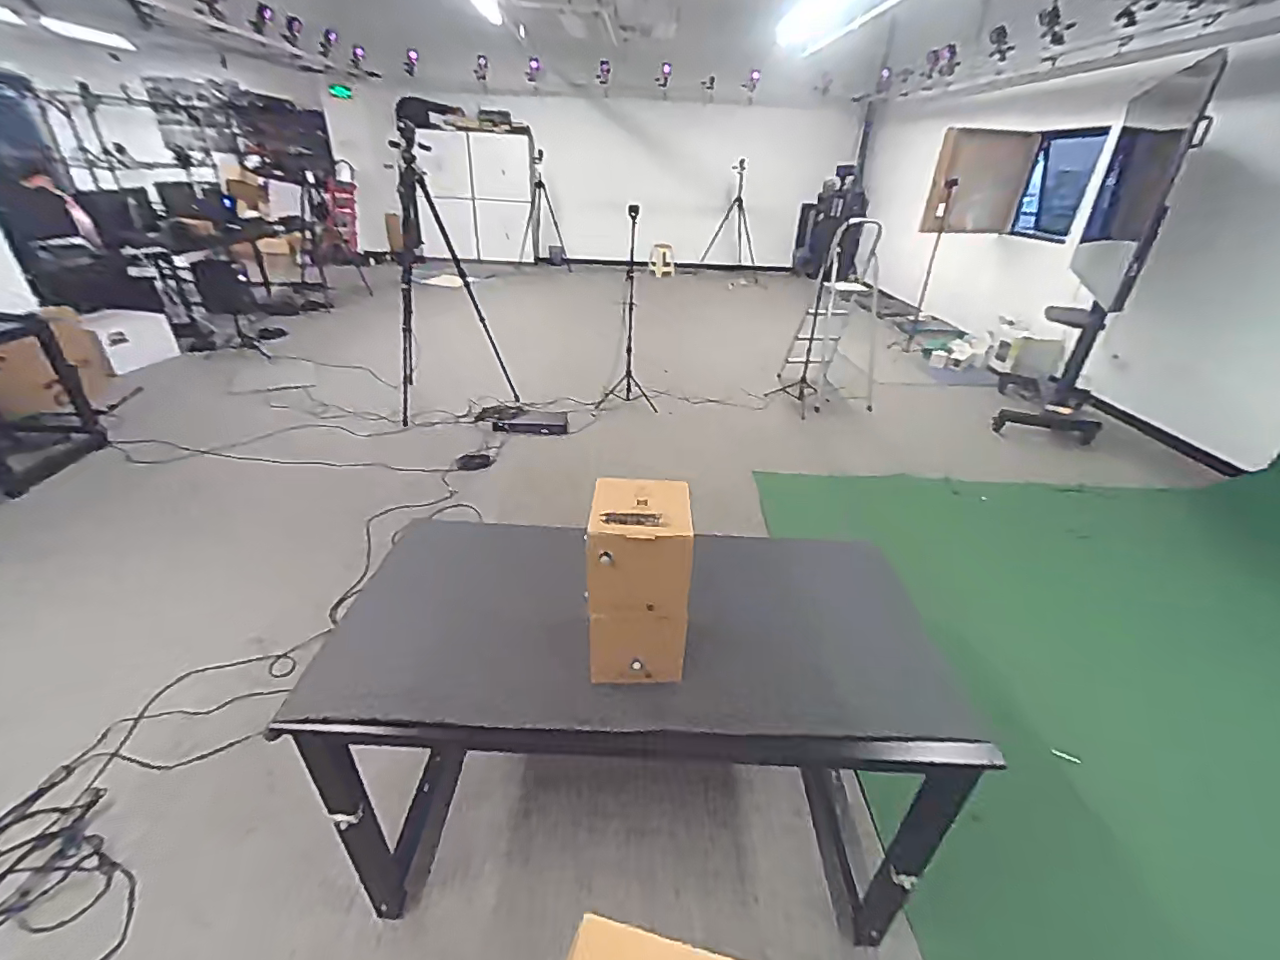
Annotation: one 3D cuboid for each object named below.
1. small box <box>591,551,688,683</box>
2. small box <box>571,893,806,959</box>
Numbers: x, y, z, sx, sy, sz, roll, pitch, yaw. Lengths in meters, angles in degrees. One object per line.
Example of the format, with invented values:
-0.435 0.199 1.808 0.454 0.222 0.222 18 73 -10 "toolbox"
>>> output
-0.006 0.251 1.010 0.168 0.176 0.179 1 29 -3 "small box"
0.014 0.421 0.351 0.168 0.176 0.179 15 36 3 "small box"
